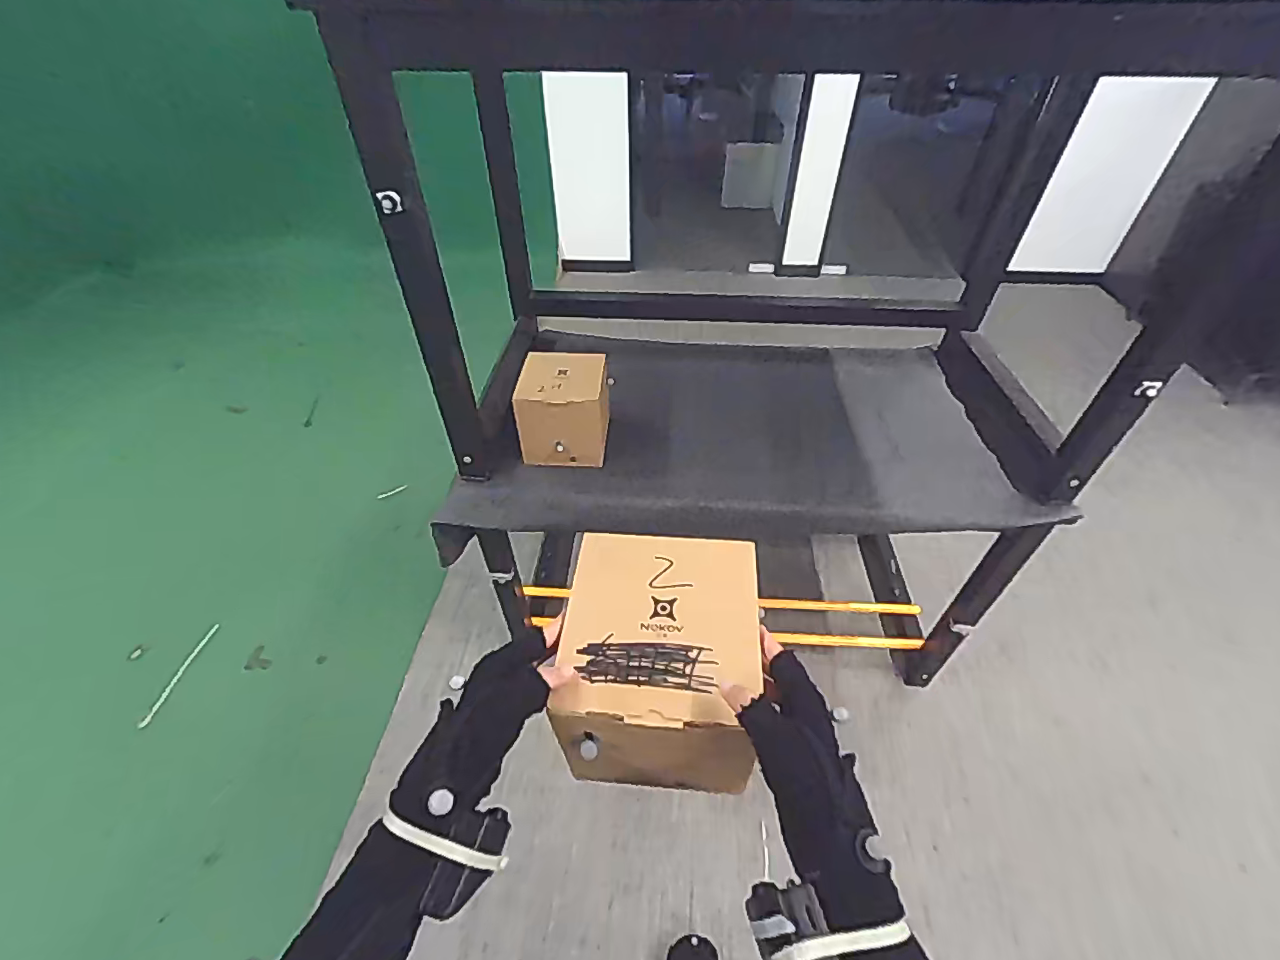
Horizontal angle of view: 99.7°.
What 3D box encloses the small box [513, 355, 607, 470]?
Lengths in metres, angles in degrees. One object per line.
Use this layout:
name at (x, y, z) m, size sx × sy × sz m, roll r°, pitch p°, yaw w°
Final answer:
small box at (-0.157, -0.142, 1.129) m, size 0.168 × 0.176 × 0.179 m, roll 1°, pitch 43°, yaw 2°
